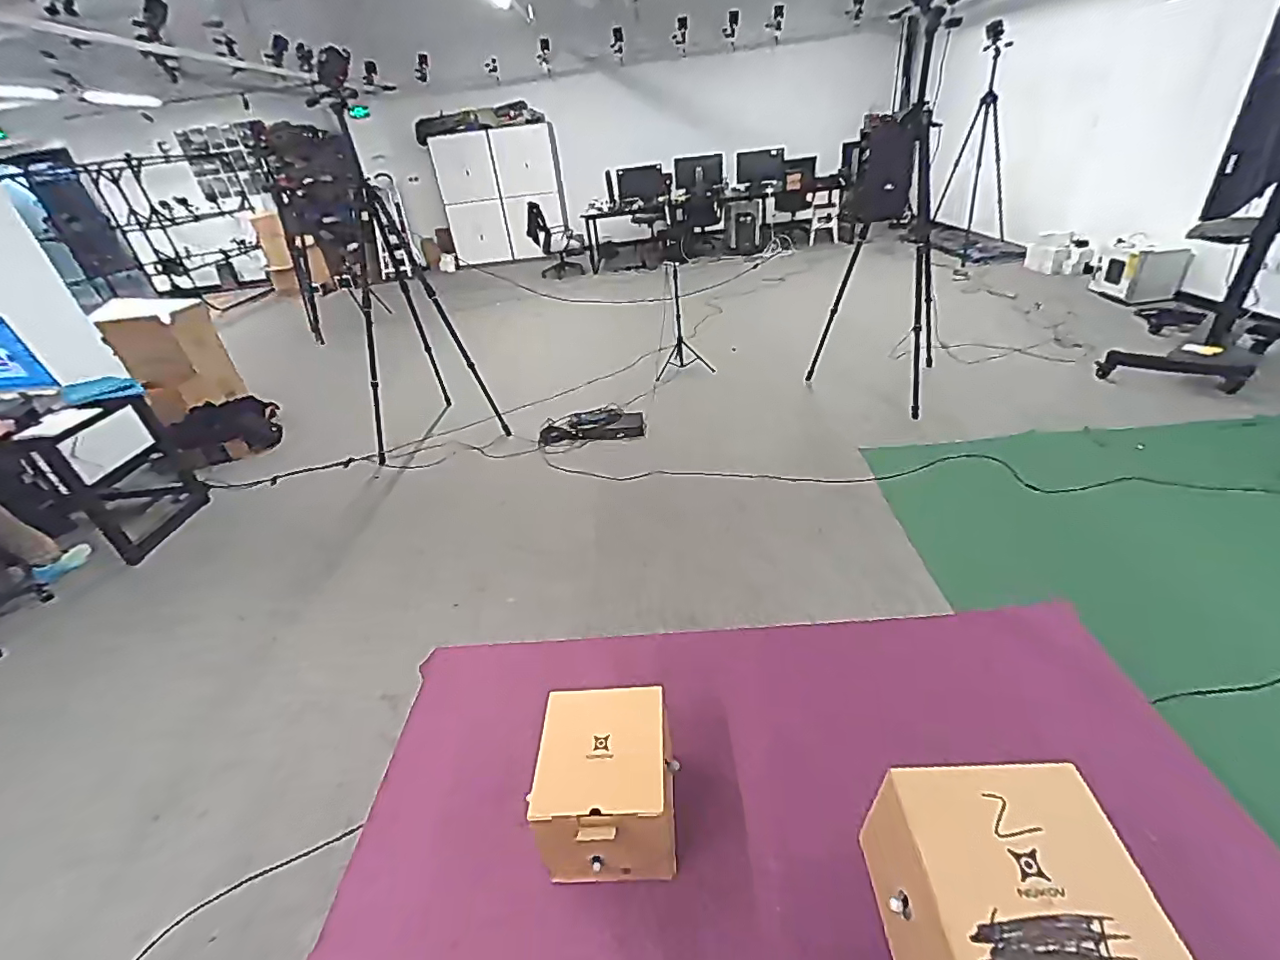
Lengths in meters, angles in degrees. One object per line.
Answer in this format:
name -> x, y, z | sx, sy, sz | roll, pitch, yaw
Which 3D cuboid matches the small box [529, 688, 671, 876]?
small box -> -0.045, 0.422, 0.763 | 0.168, 0.176, 0.179 | -5, 33, 4
